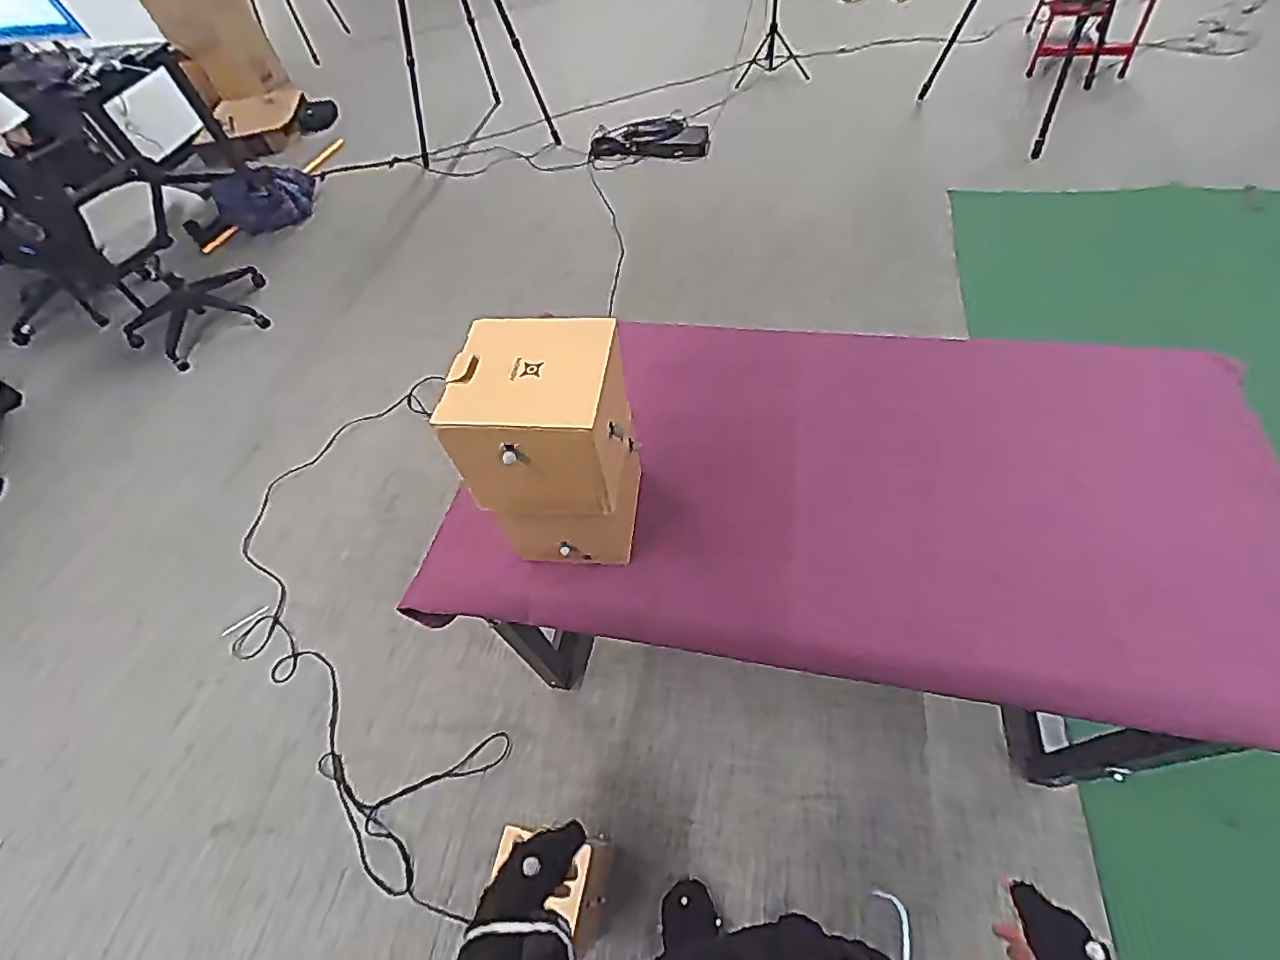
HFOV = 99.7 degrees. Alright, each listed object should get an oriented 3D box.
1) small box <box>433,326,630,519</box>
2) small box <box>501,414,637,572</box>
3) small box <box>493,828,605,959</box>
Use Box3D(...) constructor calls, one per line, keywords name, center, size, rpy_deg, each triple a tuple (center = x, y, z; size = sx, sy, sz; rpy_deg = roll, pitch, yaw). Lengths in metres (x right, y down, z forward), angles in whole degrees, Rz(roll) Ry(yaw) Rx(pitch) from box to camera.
Box3D(name="small box", center=(-0.112, -0.064, 0.654), size=(0.179, 0.176, 0.168), rpy_deg=(3, 56, 9))
Box3D(name="small box", center=(-0.098, 0.015, 0.796), size=(0.168, 0.176, 0.179), rpy_deg=(3, 55, 8))
Box3D(name="small box", center=(-0.176, 0.844, 1.118), size=(0.168, 0.176, 0.179), rpy_deg=(7, 58, 12))
